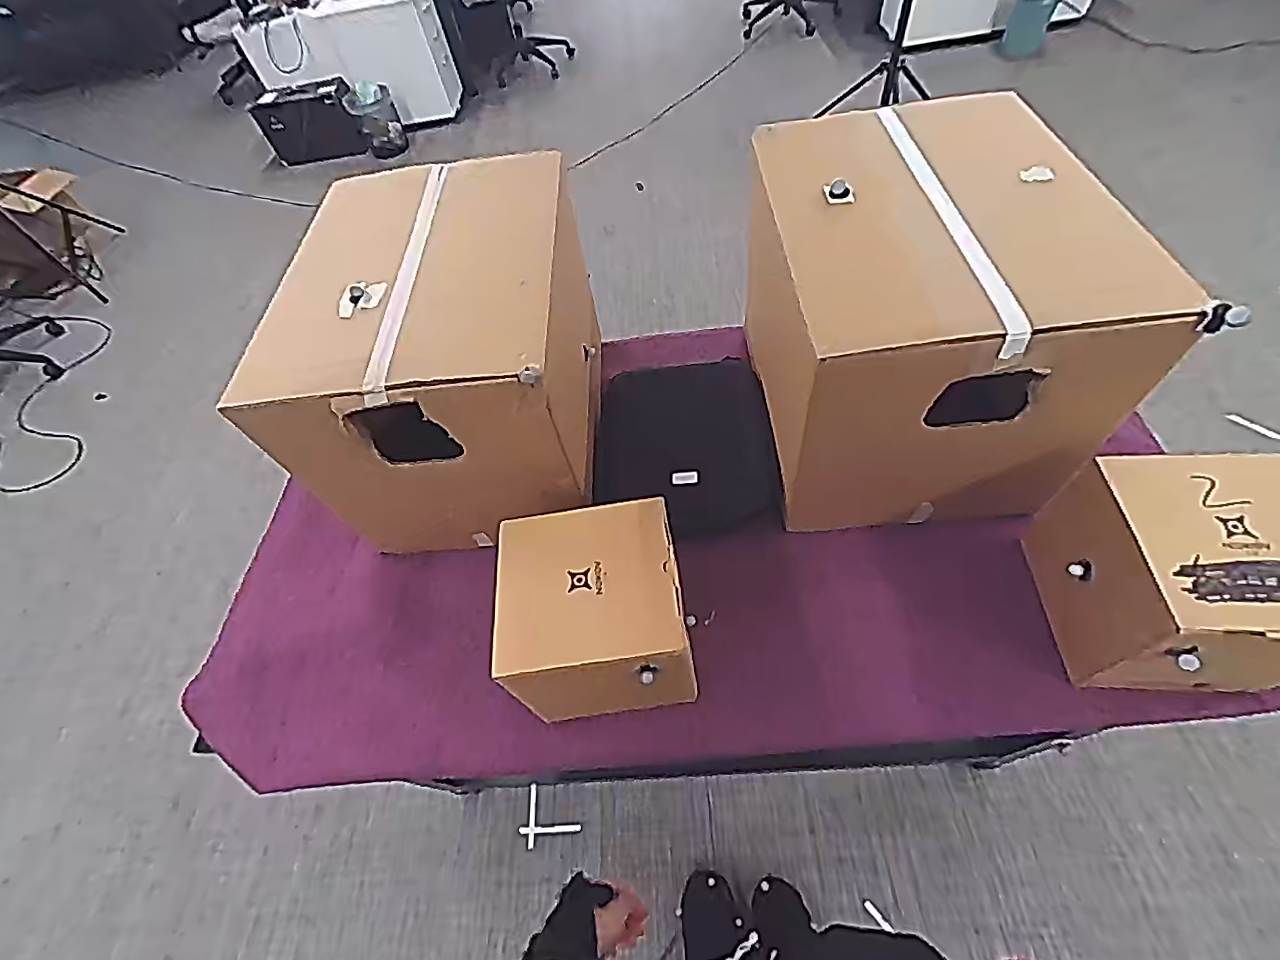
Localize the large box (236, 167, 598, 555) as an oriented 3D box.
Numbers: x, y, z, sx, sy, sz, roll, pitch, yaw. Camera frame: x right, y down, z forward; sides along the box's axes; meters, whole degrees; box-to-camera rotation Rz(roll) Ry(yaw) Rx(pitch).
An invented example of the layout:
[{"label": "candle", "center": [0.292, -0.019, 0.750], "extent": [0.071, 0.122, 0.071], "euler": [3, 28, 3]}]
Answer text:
[{"label": "large box", "center": [-0.234, -0.151, 0.736], "extent": [0.320, 0.320, 0.408], "euler": [-6, 58, 4]}]
